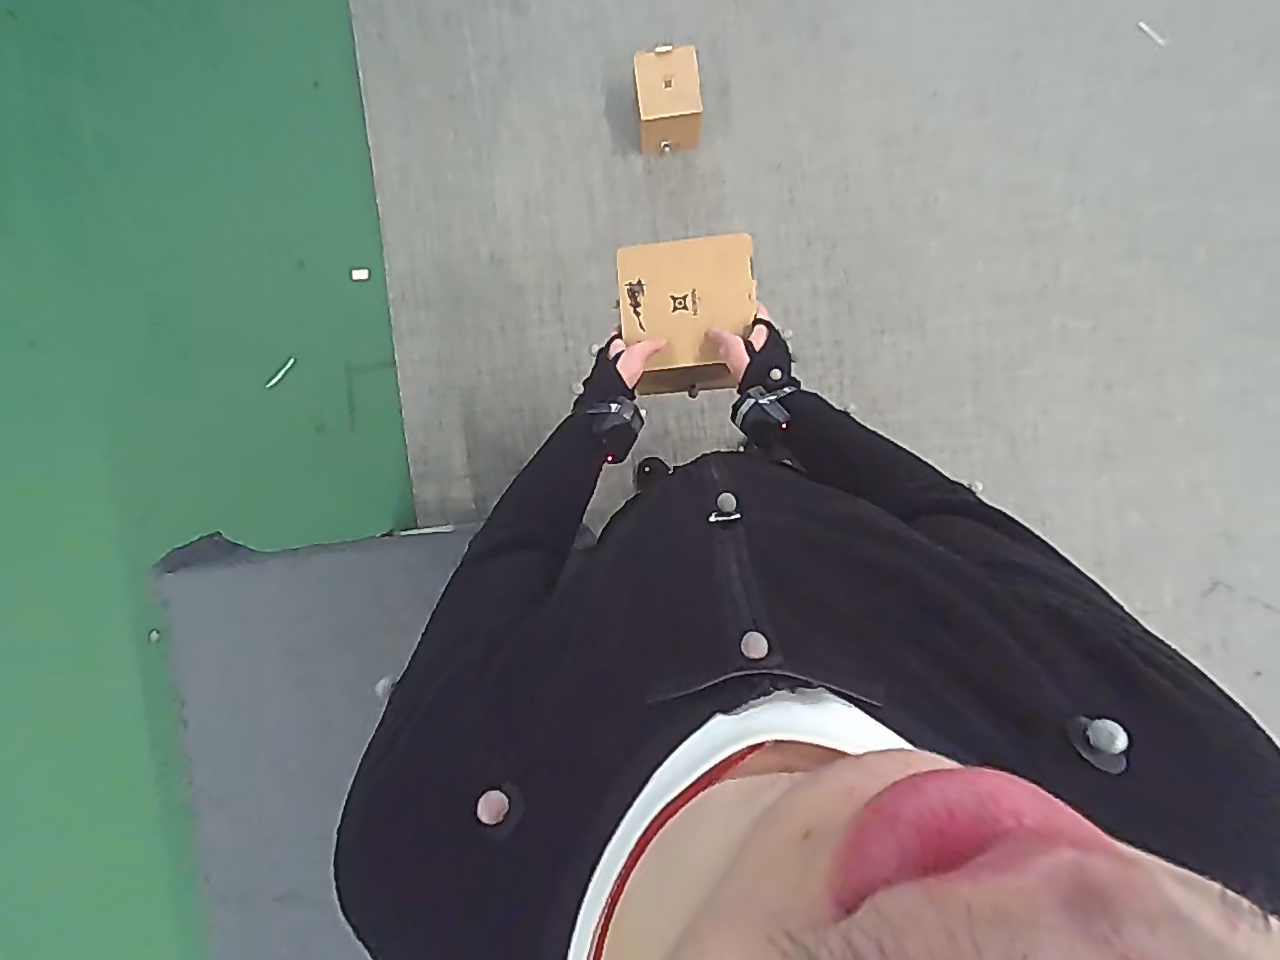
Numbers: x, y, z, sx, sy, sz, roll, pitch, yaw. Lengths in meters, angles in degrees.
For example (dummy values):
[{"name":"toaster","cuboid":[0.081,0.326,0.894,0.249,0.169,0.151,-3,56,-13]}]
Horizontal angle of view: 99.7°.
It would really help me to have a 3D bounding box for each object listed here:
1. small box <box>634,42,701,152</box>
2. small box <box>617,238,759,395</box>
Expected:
[{"name":"small box","cuboid":[0.073,-1.034,1.470,0.168,0.176,0.179,-5,91,3]},{"name":"small box","cuboid":[0.066,-0.222,0.775,0.179,0.176,0.168,-4,88,5]}]
